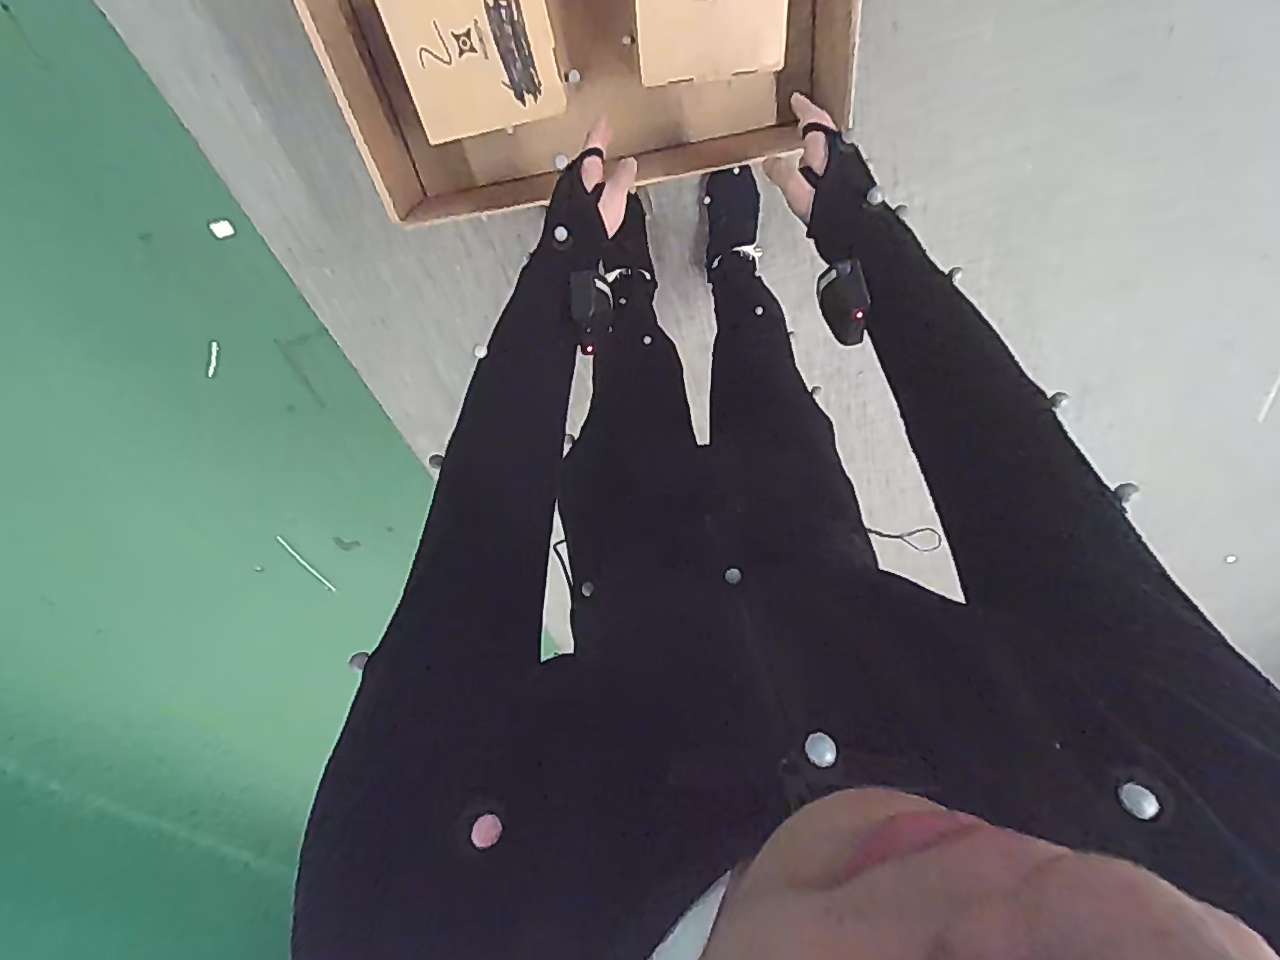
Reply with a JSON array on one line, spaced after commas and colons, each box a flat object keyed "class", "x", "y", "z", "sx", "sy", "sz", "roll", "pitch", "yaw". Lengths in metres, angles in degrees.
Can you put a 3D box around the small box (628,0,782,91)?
[{"class": "small box", "x": 0.069, "y": -0.578, "z": 0.629, "sx": 0.168, "sy": 0.176, "sz": 0.179, "roll": -5, "pitch": 131, "yaw": 3}]
